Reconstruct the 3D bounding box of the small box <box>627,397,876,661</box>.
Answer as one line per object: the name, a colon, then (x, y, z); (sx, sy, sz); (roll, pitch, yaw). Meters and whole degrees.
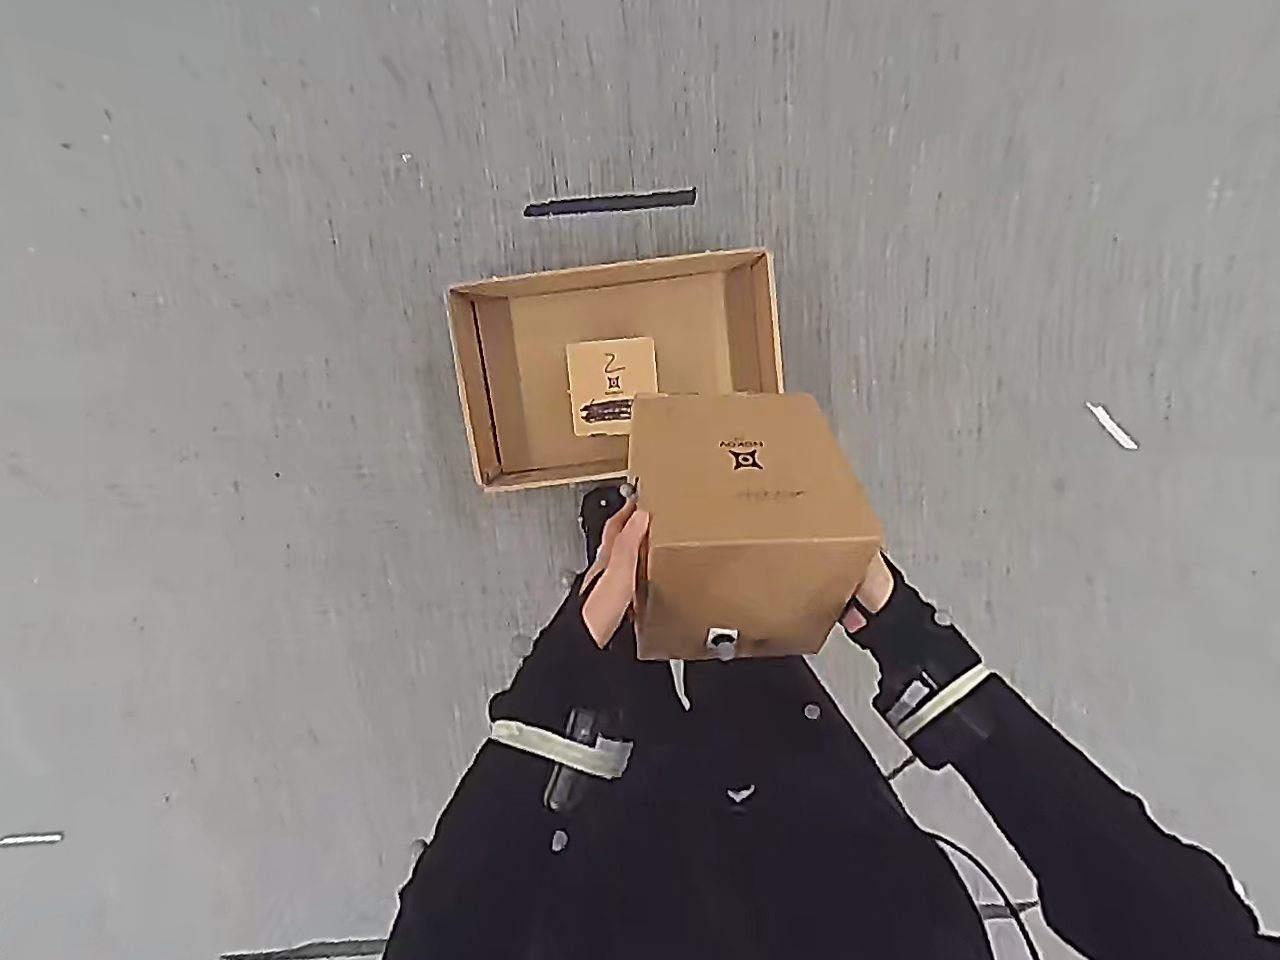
small box: (0.077, 0.042, 0.492); (0.168, 0.179, 0.176); (-2, 135, -5)
